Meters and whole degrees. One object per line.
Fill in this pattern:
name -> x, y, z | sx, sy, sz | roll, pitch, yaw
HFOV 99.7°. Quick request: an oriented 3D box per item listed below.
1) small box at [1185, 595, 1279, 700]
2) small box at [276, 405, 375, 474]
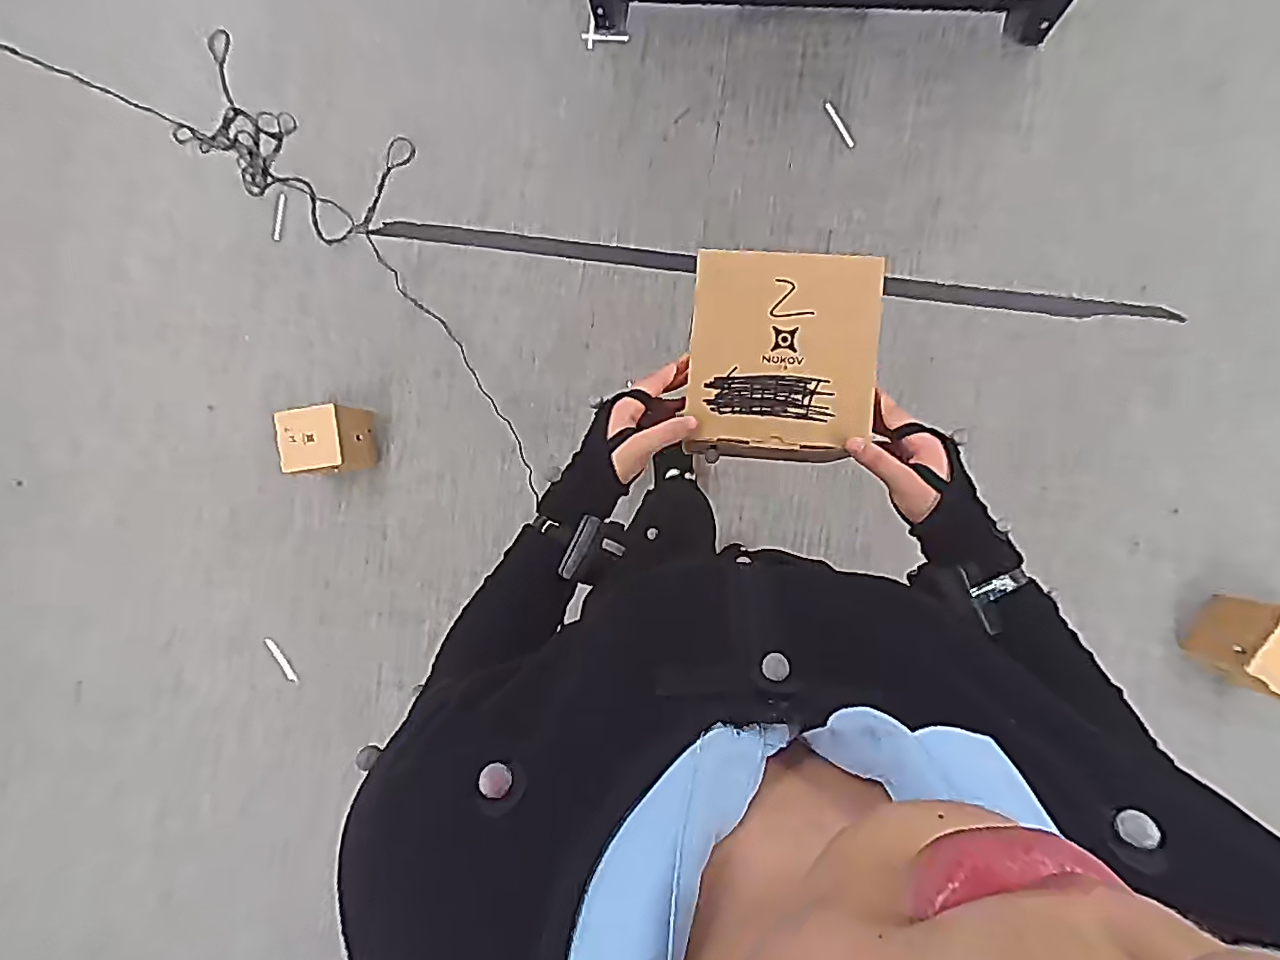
small box -> 1.456, 0.393, 1.261 | 0.168, 0.176, 0.179 | 33, 93, 5
small box -> -0.866, -0.109, 1.507 | 0.179, 0.176, 0.168 | -8, 89, 6
